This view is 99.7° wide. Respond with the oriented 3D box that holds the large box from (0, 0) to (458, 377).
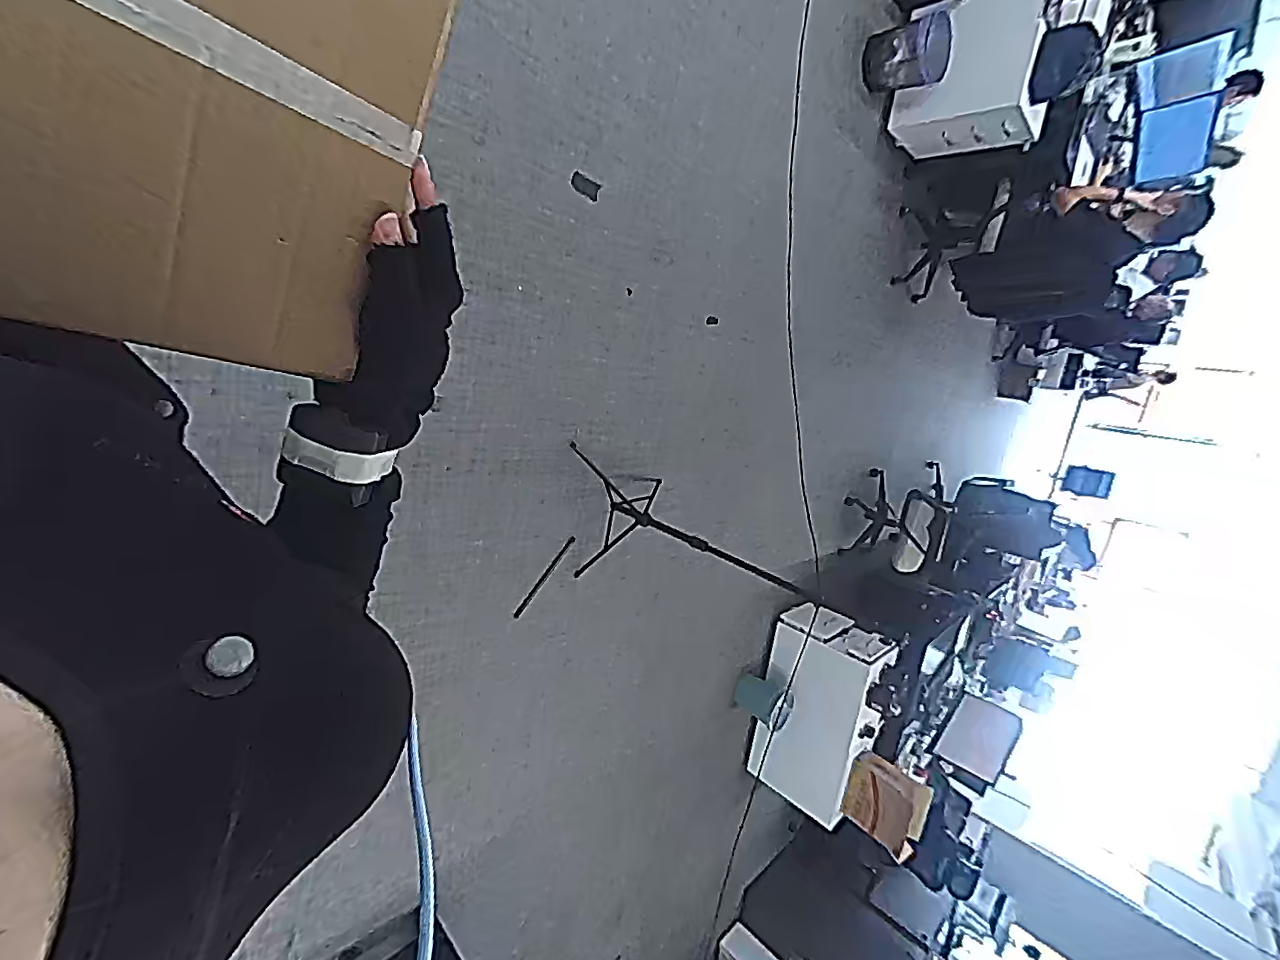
[{"bbox_3d":[-0.368,-0.293,0.292,0.408,0.320,0.320,8,116,-45],"label":"large box"}]
